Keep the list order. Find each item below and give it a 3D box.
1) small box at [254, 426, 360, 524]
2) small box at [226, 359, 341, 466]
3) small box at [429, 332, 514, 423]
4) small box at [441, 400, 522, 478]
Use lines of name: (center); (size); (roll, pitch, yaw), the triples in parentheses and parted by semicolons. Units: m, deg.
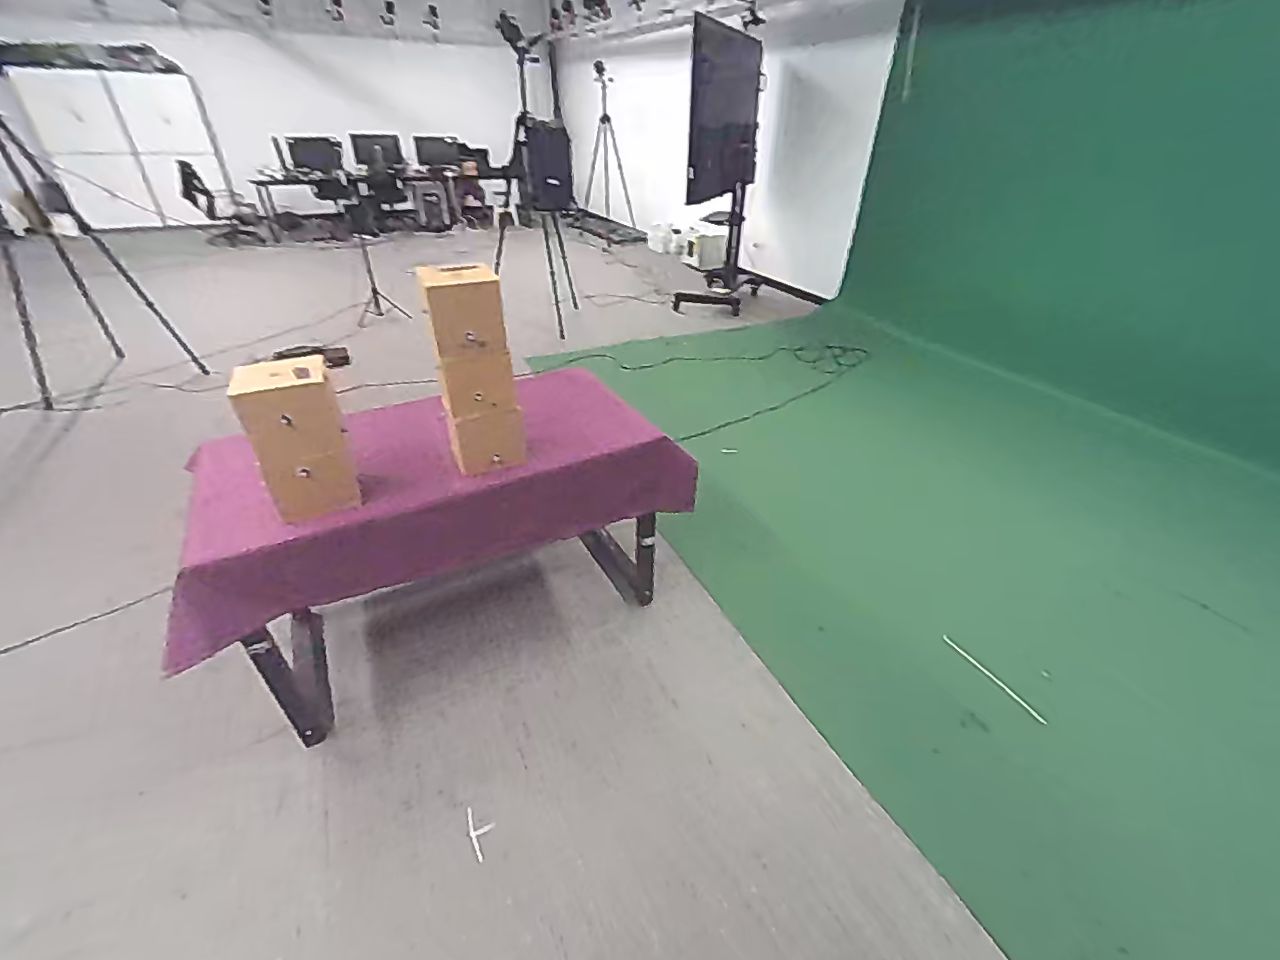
small box: (-0.796, -0.015, 1.305); (0.179, 0.176, 0.168); (-14, 37, -23)
small box: (-0.789, -0.153, 1.218); (0.179, 0.176, 0.168); (-16, 38, -22)
small box: (-0.435, -0.267, 1.399); (0.168, 0.176, 0.179); (-15, 38, -22)
small box: (-0.431, -0.127, 1.482); (0.179, 0.176, 0.168); (-15, 37, -23)
